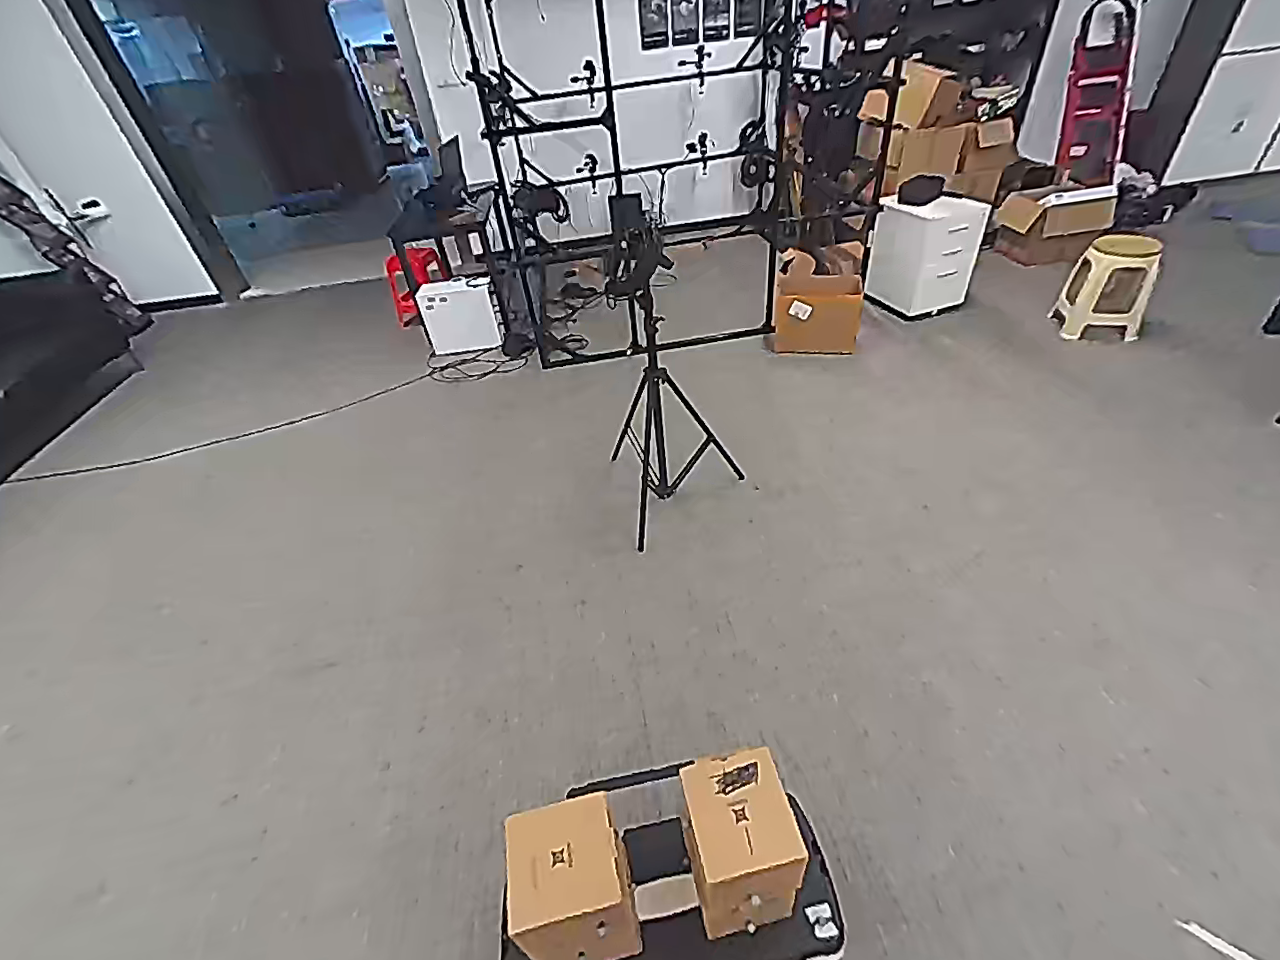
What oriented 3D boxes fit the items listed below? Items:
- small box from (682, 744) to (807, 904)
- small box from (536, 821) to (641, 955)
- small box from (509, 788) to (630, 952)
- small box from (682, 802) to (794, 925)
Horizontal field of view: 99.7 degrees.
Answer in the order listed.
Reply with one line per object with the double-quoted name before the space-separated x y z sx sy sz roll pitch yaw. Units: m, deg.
"small box" 0.174 0.604 0.952 0.168 0.176 0.179 -12 40 -5
"small box" -0.100 0.791 1.030 0.179 0.176 0.168 -13 40 -6
"small box" -0.117 0.666 0.925 0.179 0.176 0.168 -13 39 -6
"small box" 0.183 0.734 1.053 0.168 0.176 0.179 -12 40 -5
